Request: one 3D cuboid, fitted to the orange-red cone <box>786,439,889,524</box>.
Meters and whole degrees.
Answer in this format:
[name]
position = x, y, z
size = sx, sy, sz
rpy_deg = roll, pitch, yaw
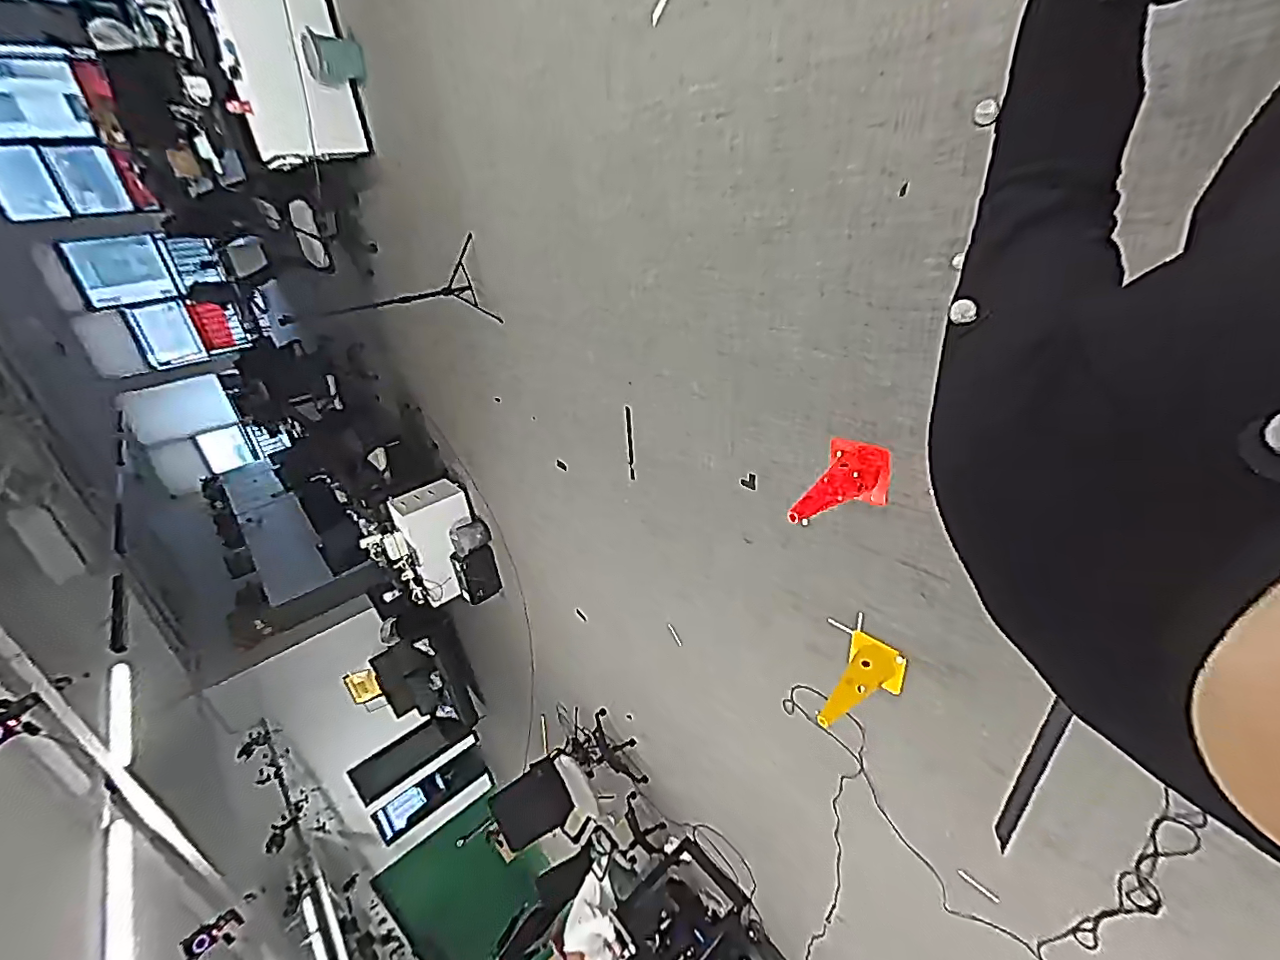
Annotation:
[orange-red cone]
position = 0.565, 0.044, 1.632
size = 0.198, 0.360, 0.199
rpy_deg = 24, 132, 45
